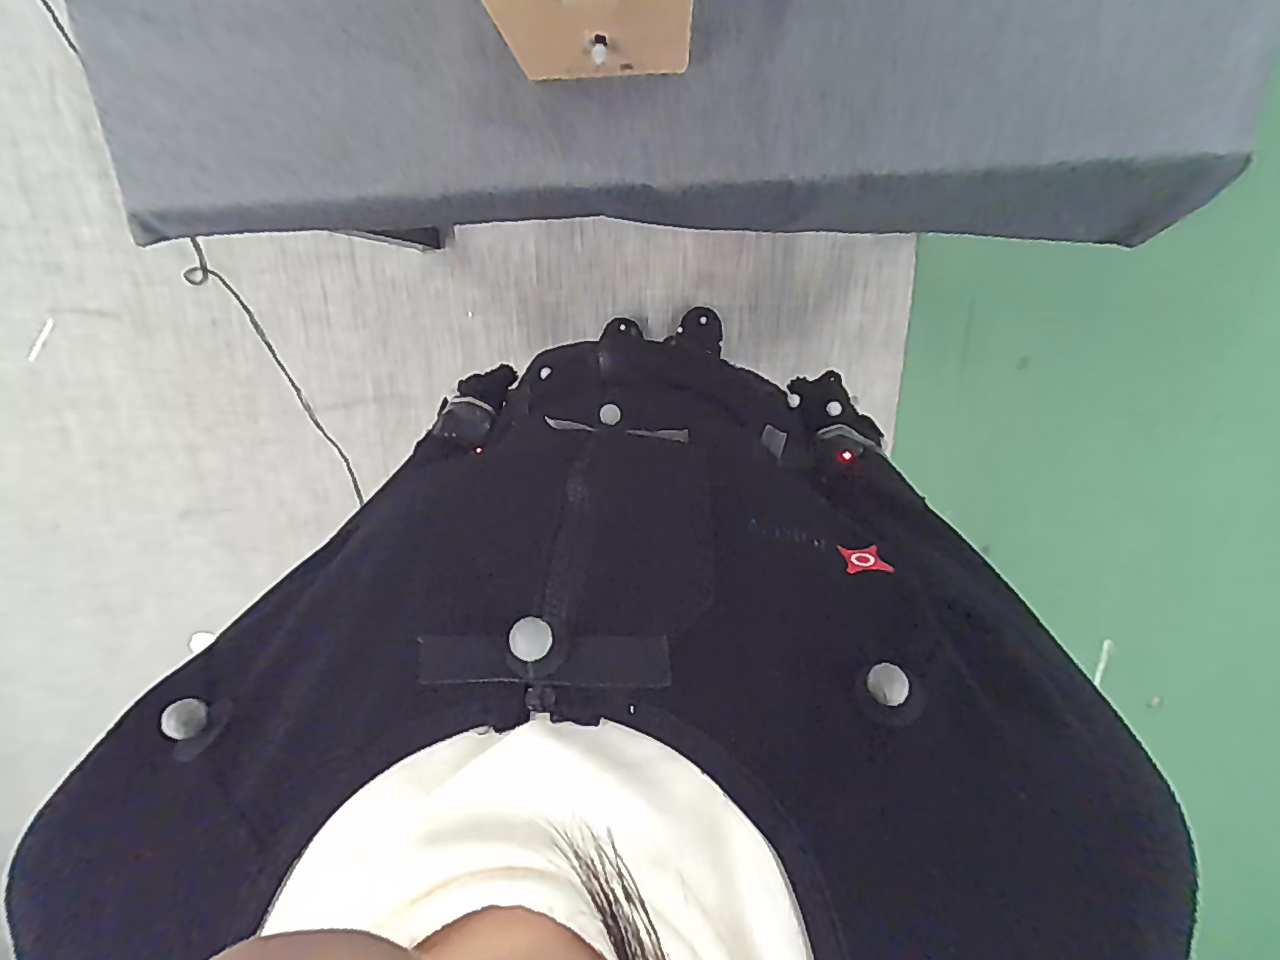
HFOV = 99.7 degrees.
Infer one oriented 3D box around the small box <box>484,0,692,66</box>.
[{"bbox_3d":[-0.038,-0.477,0.453,0.168,0.176,0.179,-1,109,4],"label":"small box"}]
